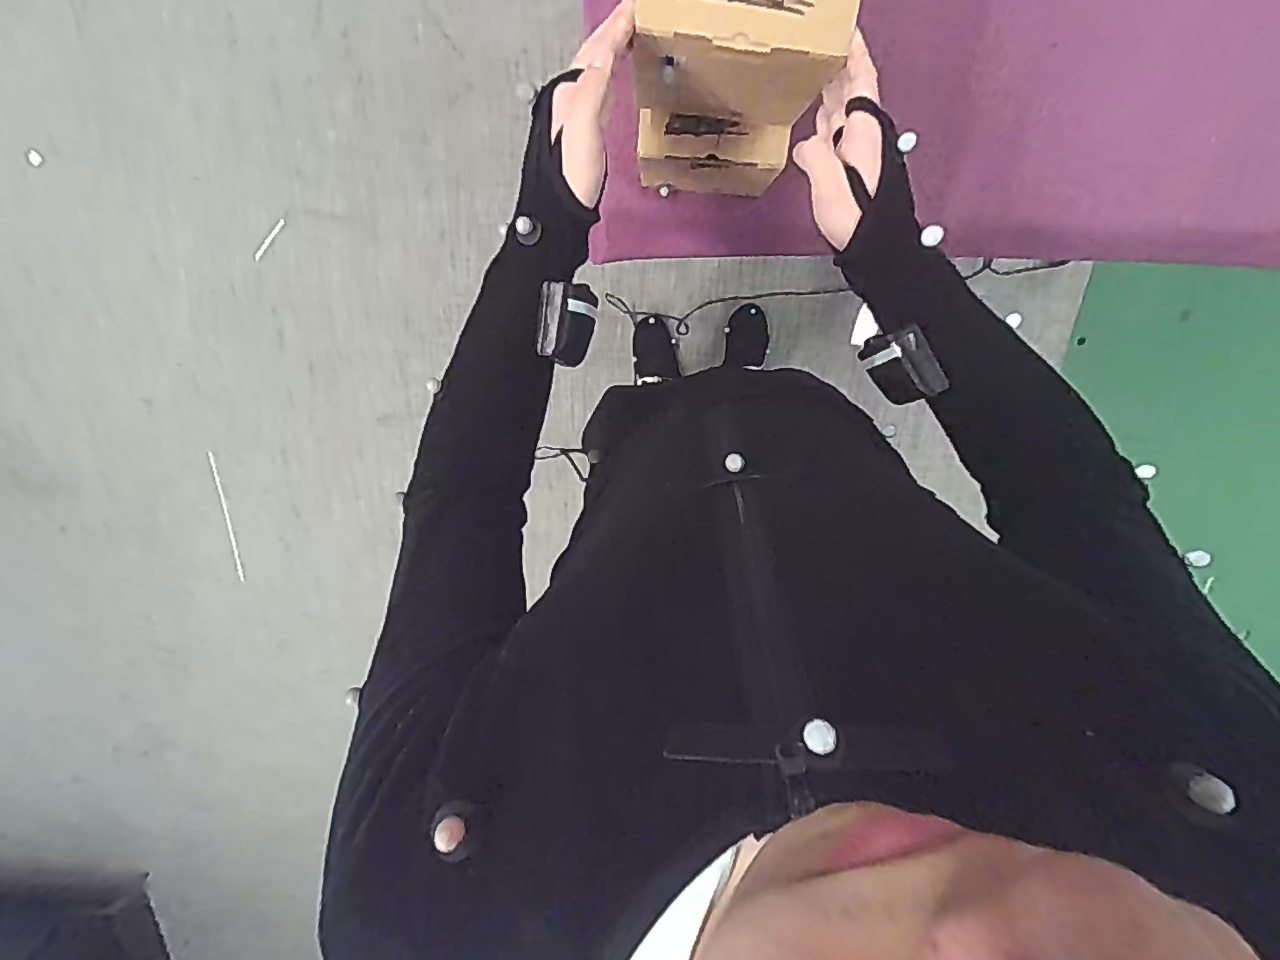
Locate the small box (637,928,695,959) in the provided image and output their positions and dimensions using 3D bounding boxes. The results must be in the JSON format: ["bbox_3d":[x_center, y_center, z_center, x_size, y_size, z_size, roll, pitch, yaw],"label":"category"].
[{"bbox_3d":[0.077,1.560,1.691,0.168,0.176,0.179,11,108,-1],"label":"small box"}]

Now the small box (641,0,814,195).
[{"bbox_3d":[0.093,-0.453,0.645,0.168,0.176,0.179,5,108,1],"label":"small box"}]
